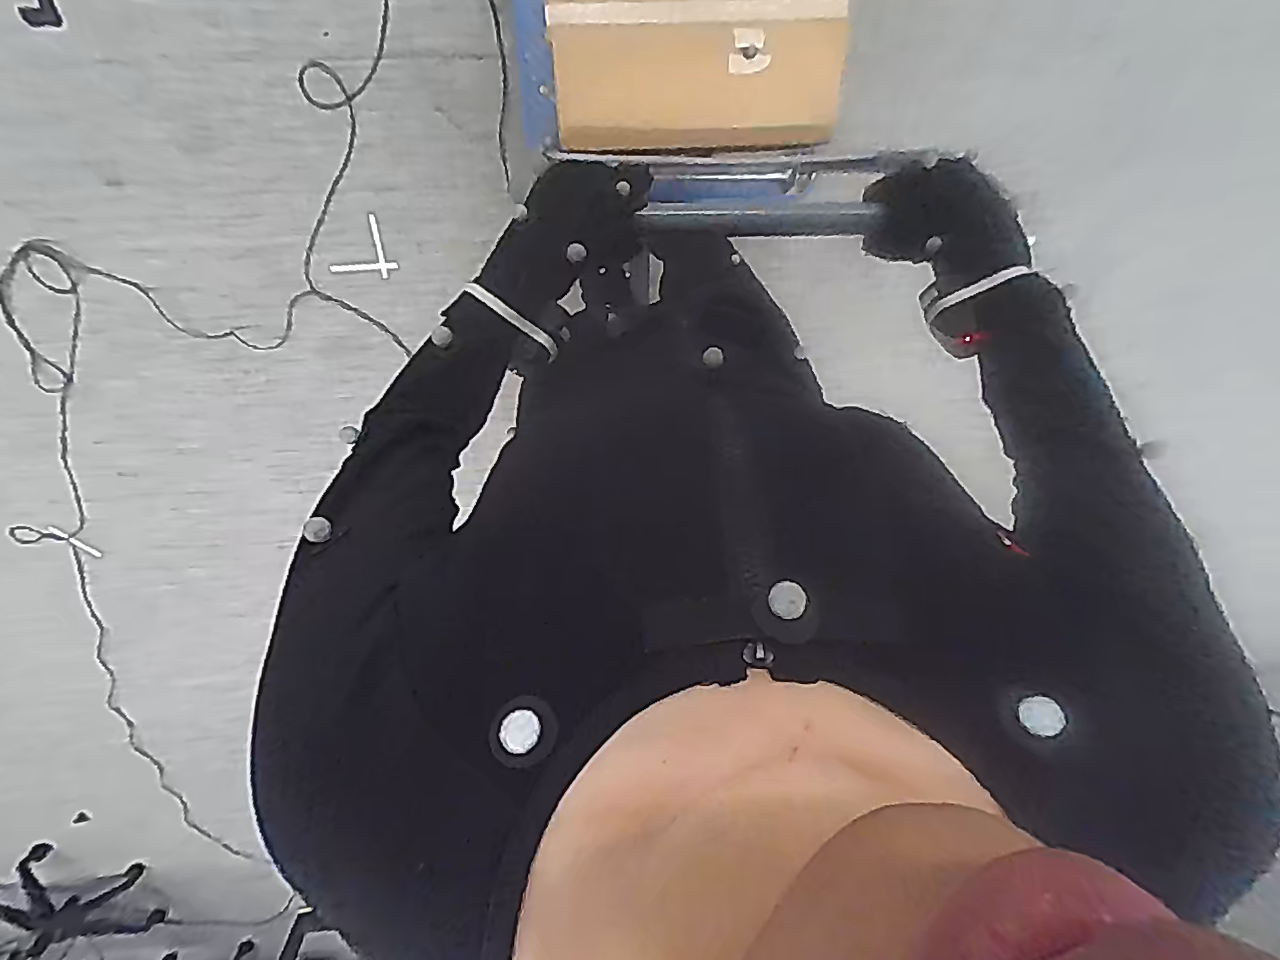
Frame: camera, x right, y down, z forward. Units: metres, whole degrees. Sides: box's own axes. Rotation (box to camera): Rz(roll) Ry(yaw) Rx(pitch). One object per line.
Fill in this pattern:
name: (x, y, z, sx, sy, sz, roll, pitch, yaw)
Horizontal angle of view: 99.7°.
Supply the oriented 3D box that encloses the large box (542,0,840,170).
large box: (0.058, -0.684, 0.854, 0.408, 0.320, 0.320, -5, 119, -4)
